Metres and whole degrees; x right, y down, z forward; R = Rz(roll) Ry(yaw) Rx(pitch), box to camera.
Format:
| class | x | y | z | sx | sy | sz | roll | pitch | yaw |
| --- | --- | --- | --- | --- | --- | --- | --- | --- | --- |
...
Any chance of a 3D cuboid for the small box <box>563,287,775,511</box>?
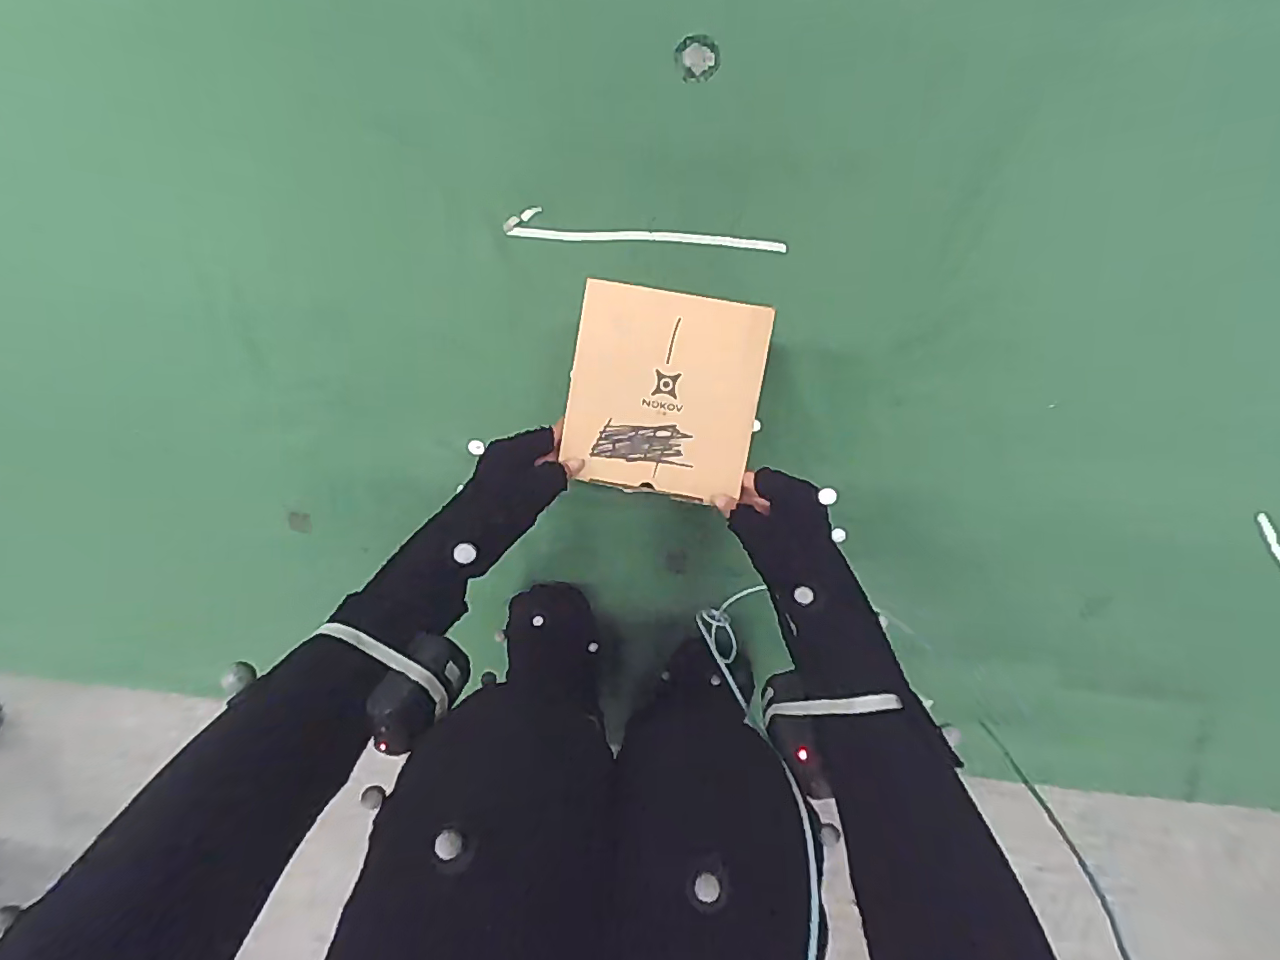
| class | x | y | z | sx | sy | sz | roll | pitch | yaw |
| --- | --- | --- | --- | --- | --- | --- | --- | --- | --- |
| small box | 0.028 | -0.077 | 0.546 | 0.168 | 0.176 | 0.179 | 8 | 96 | 2 |
